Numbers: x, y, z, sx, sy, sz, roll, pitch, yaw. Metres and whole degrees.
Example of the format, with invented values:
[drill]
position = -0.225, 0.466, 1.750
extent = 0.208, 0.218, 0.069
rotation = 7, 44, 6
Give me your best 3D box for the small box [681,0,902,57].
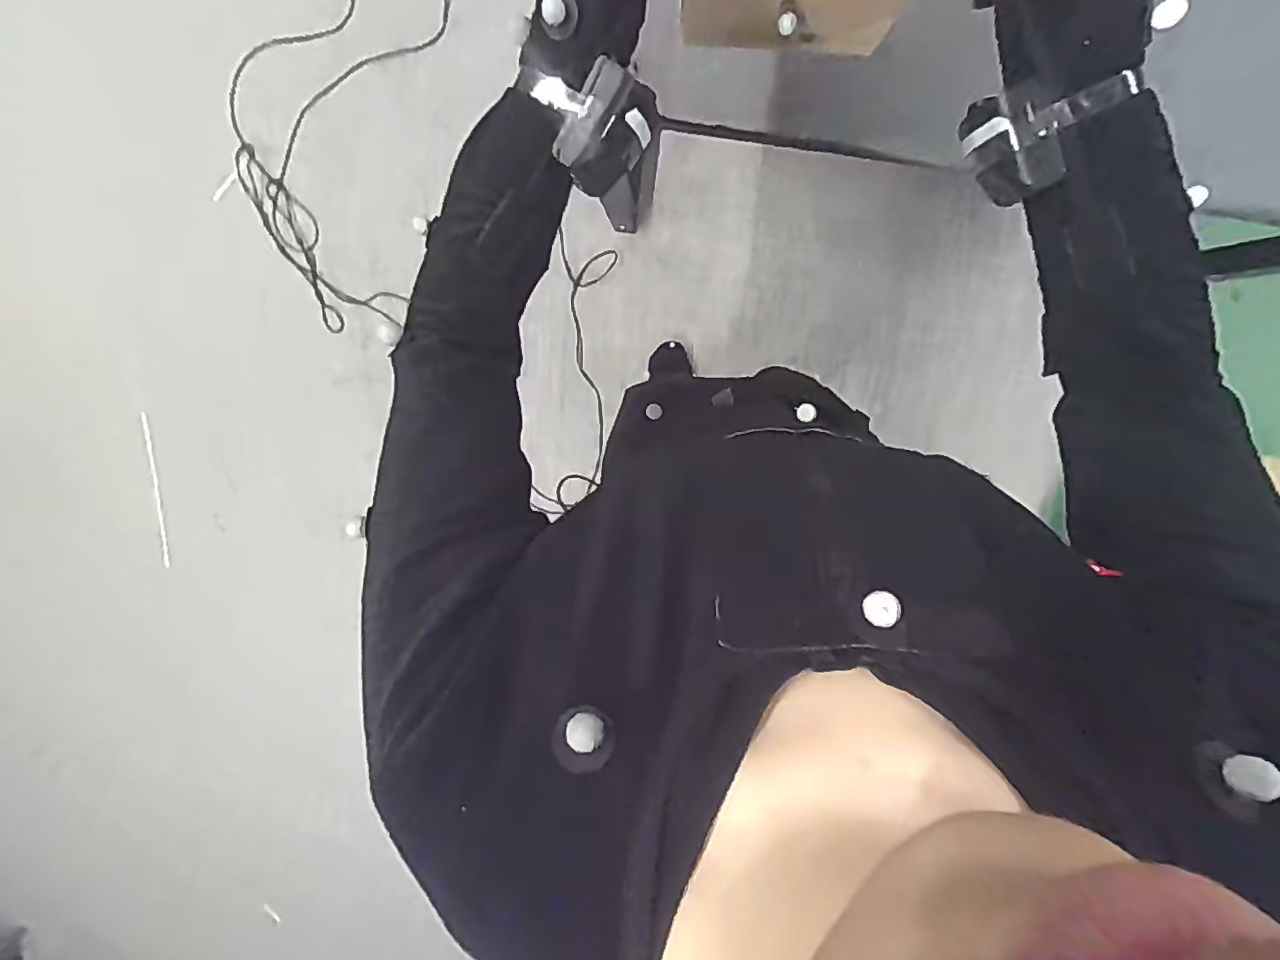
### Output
[small box]
position = 0.118, -0.437, 0.366
extent = 0.168, 0.176, 0.179
rotation = 4, 102, 0
